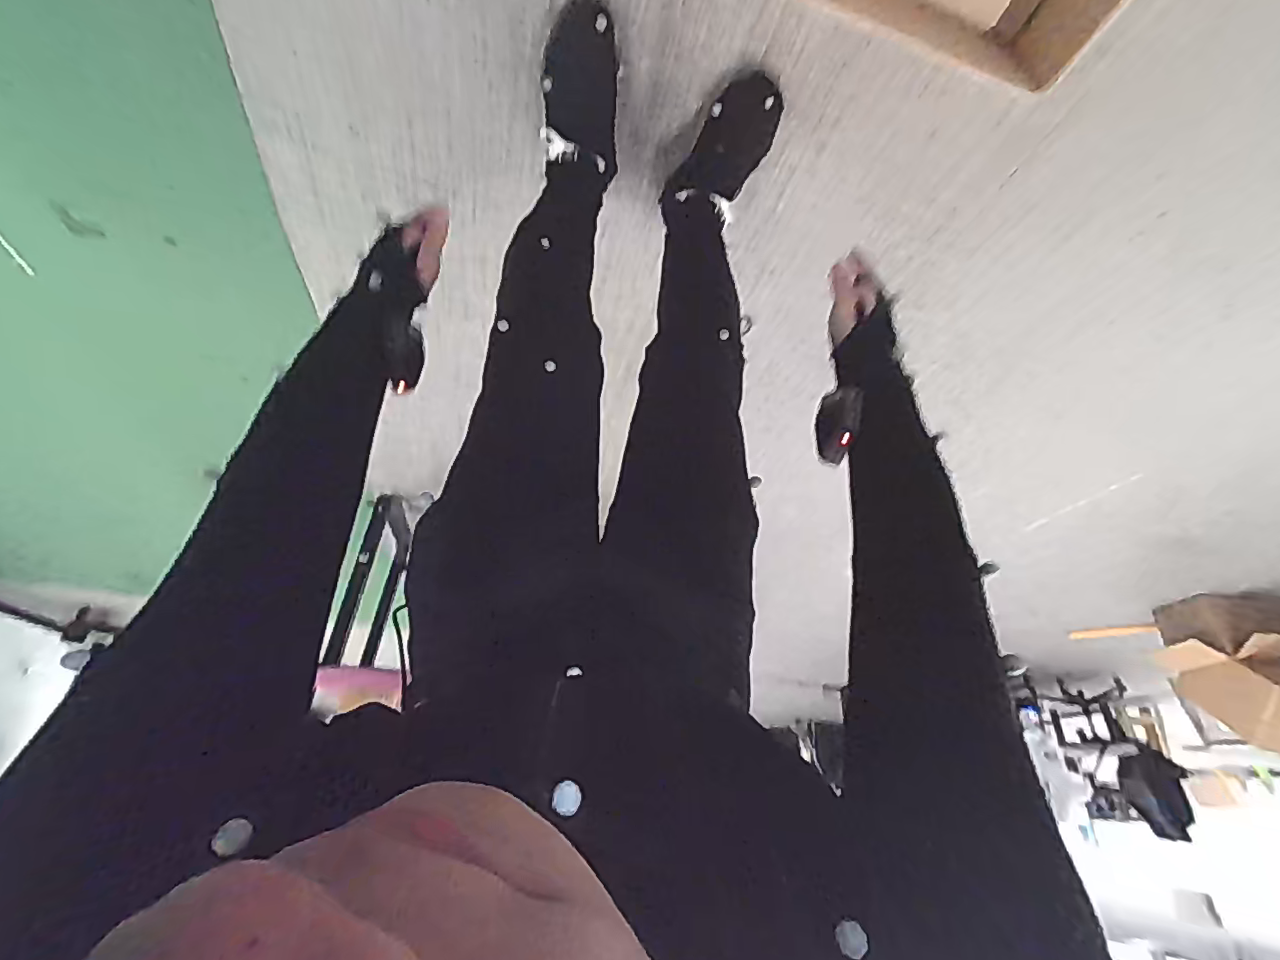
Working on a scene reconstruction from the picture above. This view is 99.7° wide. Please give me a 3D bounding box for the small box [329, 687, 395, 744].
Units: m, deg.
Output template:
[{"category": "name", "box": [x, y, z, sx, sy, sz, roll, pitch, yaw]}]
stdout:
[{"category": "small box", "box": [-0.971, 0.830, 1.904, 0.168, 0.176, 0.179, 12, 151, -16]}]
